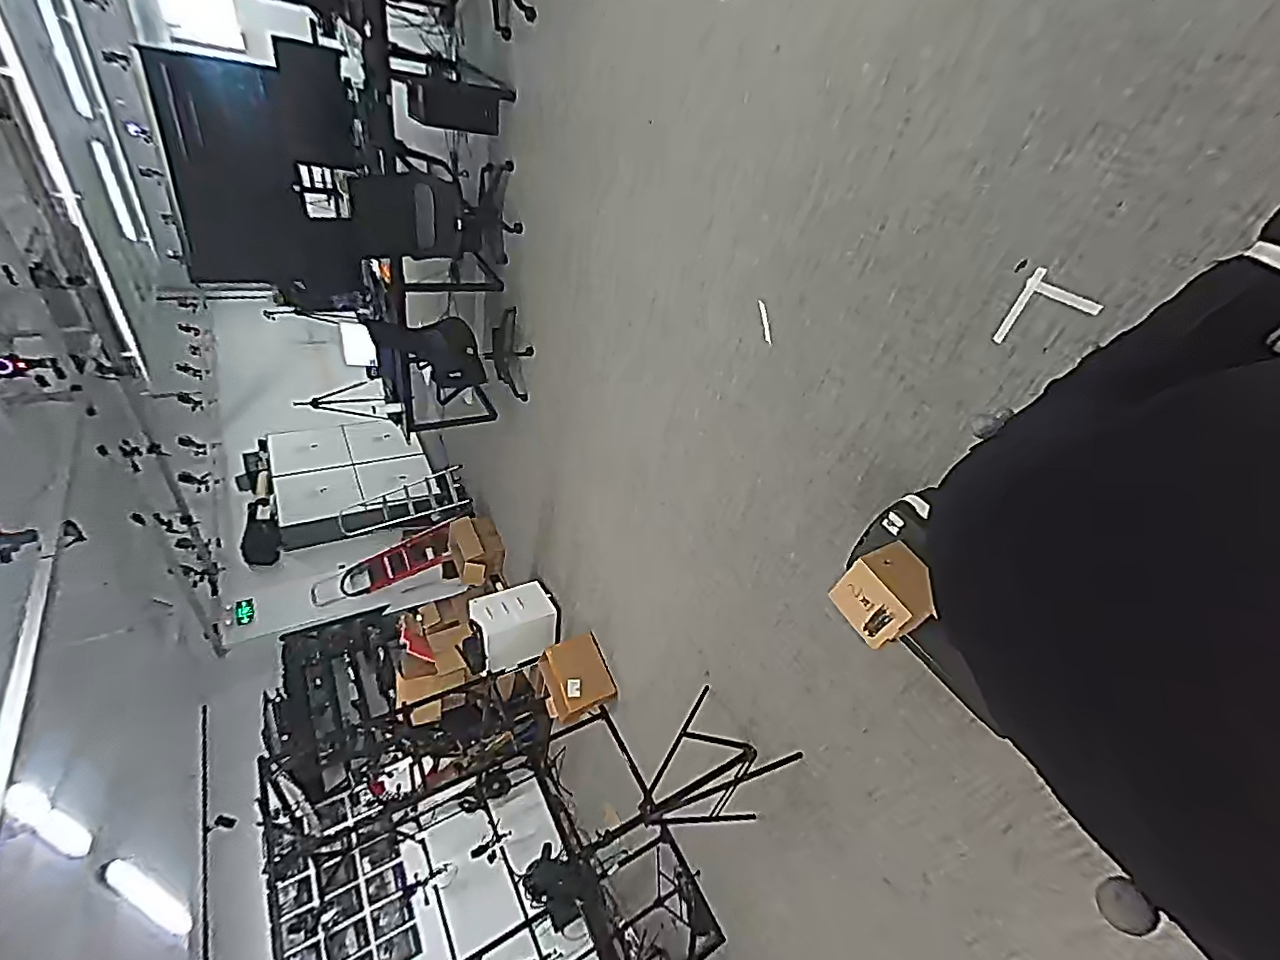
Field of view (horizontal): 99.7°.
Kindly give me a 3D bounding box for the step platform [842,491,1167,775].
[{"bbox_3d":[0.838,0.348,1.345,0.684,0.204,0.286,51,142,35],"label":"step platform"}]
